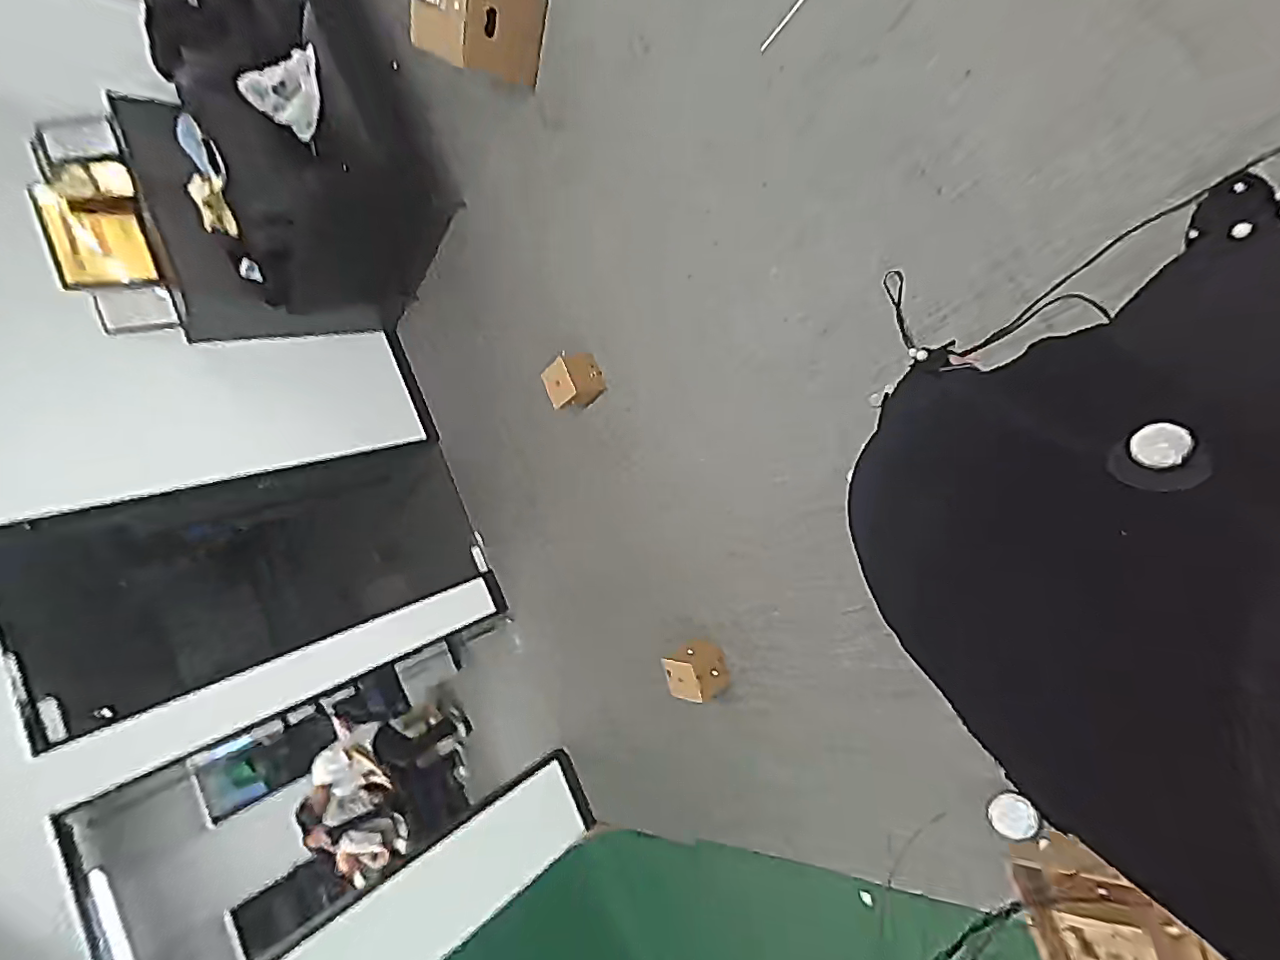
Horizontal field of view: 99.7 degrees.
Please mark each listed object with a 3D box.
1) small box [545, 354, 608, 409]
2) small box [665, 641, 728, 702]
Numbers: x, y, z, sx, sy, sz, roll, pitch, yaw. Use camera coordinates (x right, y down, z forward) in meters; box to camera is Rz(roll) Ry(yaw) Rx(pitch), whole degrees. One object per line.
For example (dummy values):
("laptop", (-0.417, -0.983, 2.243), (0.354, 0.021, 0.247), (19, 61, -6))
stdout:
("small box", (-0.266, -0.417, 2.280), (0.179, 0.176, 0.168), (-28, 84, 47))
("small box", (0.232, 0.760, 2.166), (0.179, 0.176, 0.168), (-11, 96, 48))
